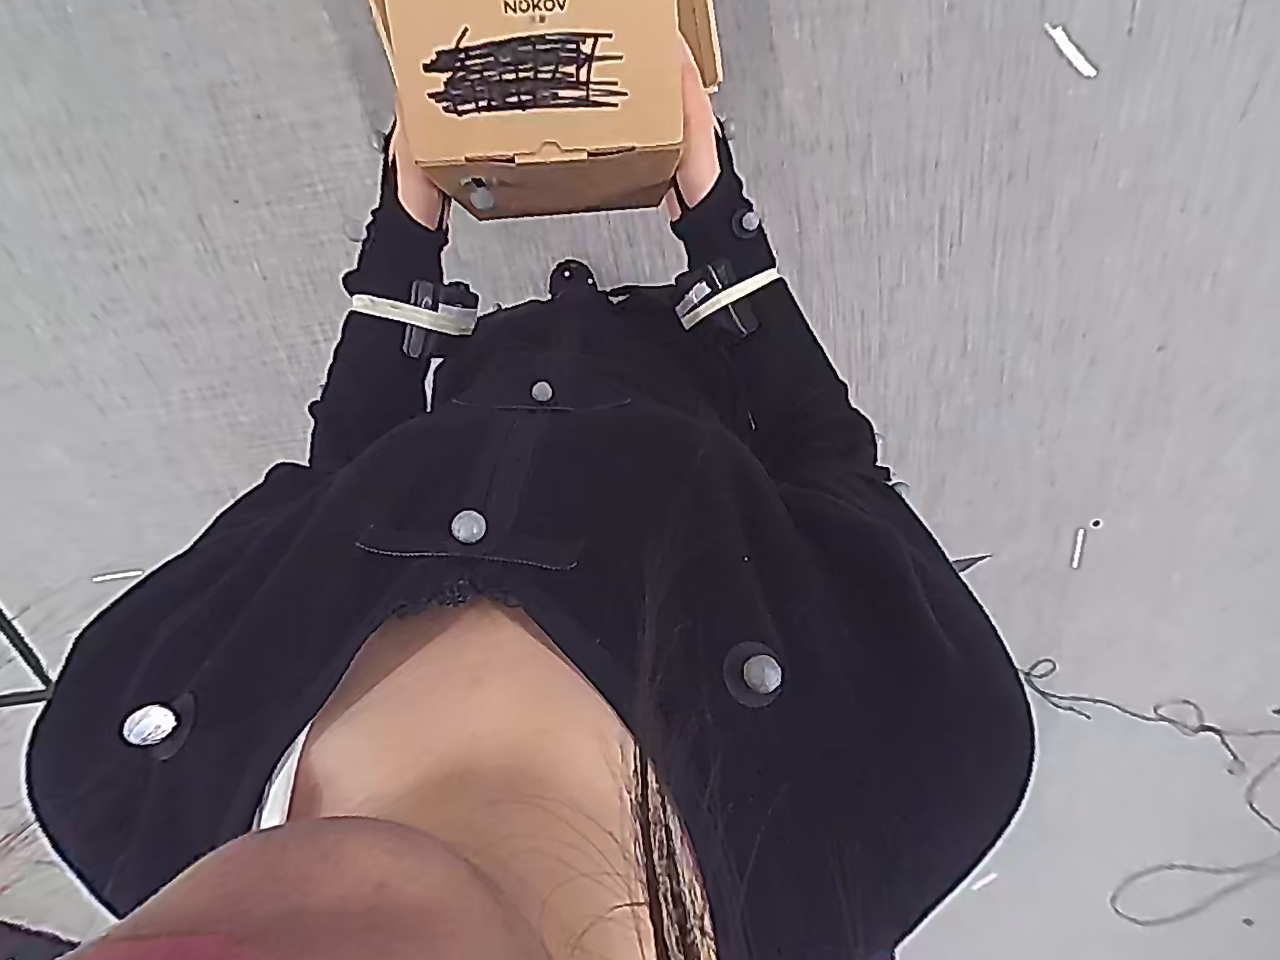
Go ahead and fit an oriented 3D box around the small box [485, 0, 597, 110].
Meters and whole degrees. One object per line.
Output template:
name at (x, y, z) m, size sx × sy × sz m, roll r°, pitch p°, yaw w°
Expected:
small box at (-0.191, -0.872, 1.066) m, size 0.168 × 0.176 × 0.179 m, roll -17°, pitch 112°, yaw 6°
